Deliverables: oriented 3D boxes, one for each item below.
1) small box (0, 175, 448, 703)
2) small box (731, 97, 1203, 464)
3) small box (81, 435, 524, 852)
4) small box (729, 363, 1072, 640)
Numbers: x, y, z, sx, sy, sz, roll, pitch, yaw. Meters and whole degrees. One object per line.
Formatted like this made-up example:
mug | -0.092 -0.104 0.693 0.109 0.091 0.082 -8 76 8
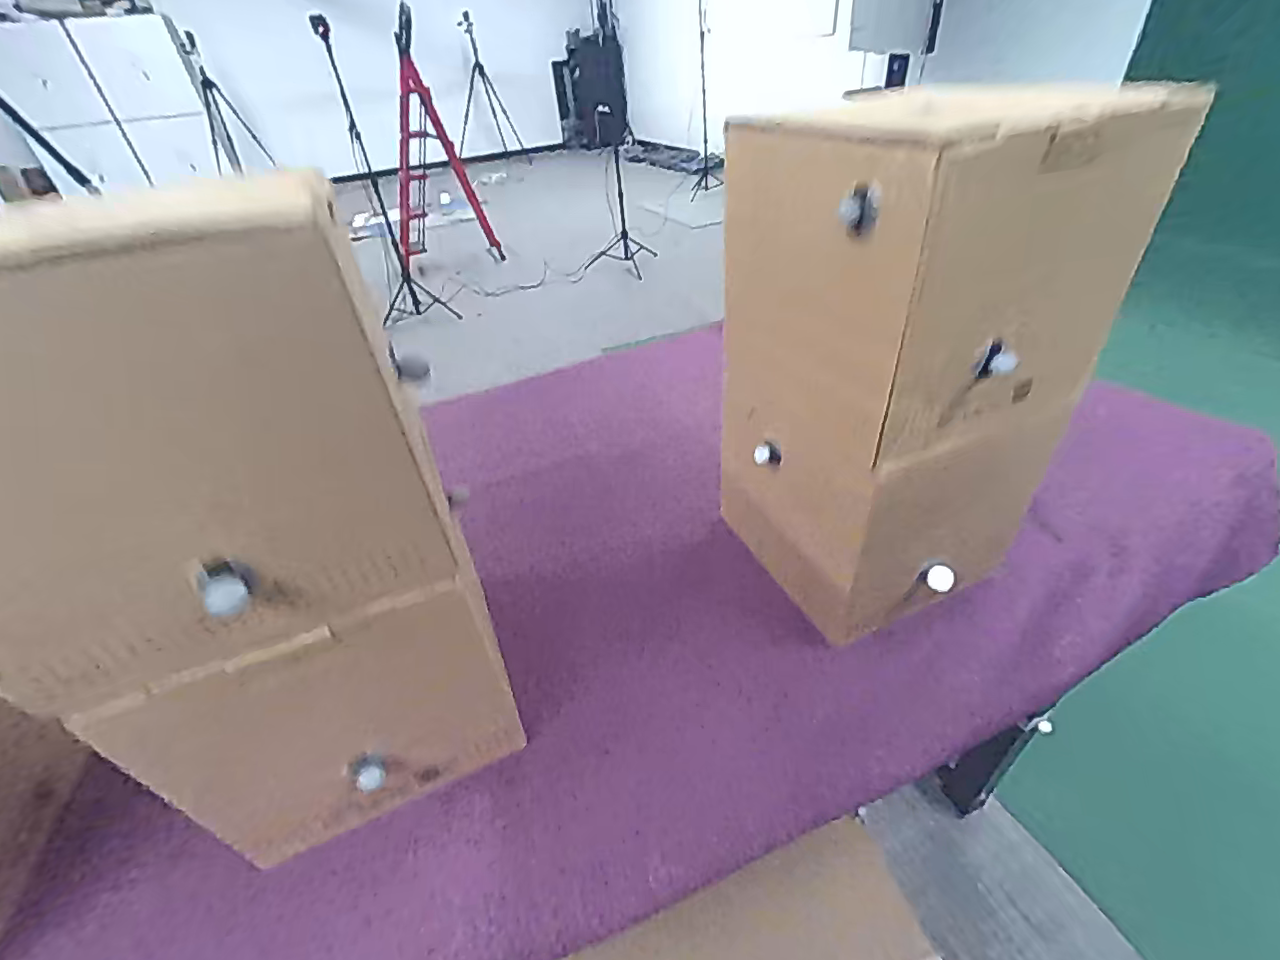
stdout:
small box | -0.204 -0.033 0.260 0.179 0.176 0.168 -19 38 -17
small box | 0.169 -0.136 0.349 0.168 0.176 0.179 -19 40 -16
small box | -0.190 0.095 0.361 0.168 0.176 0.179 -19 39 -16
small box | 0.183 -0.006 0.445 0.168 0.176 0.179 -18 40 -15
